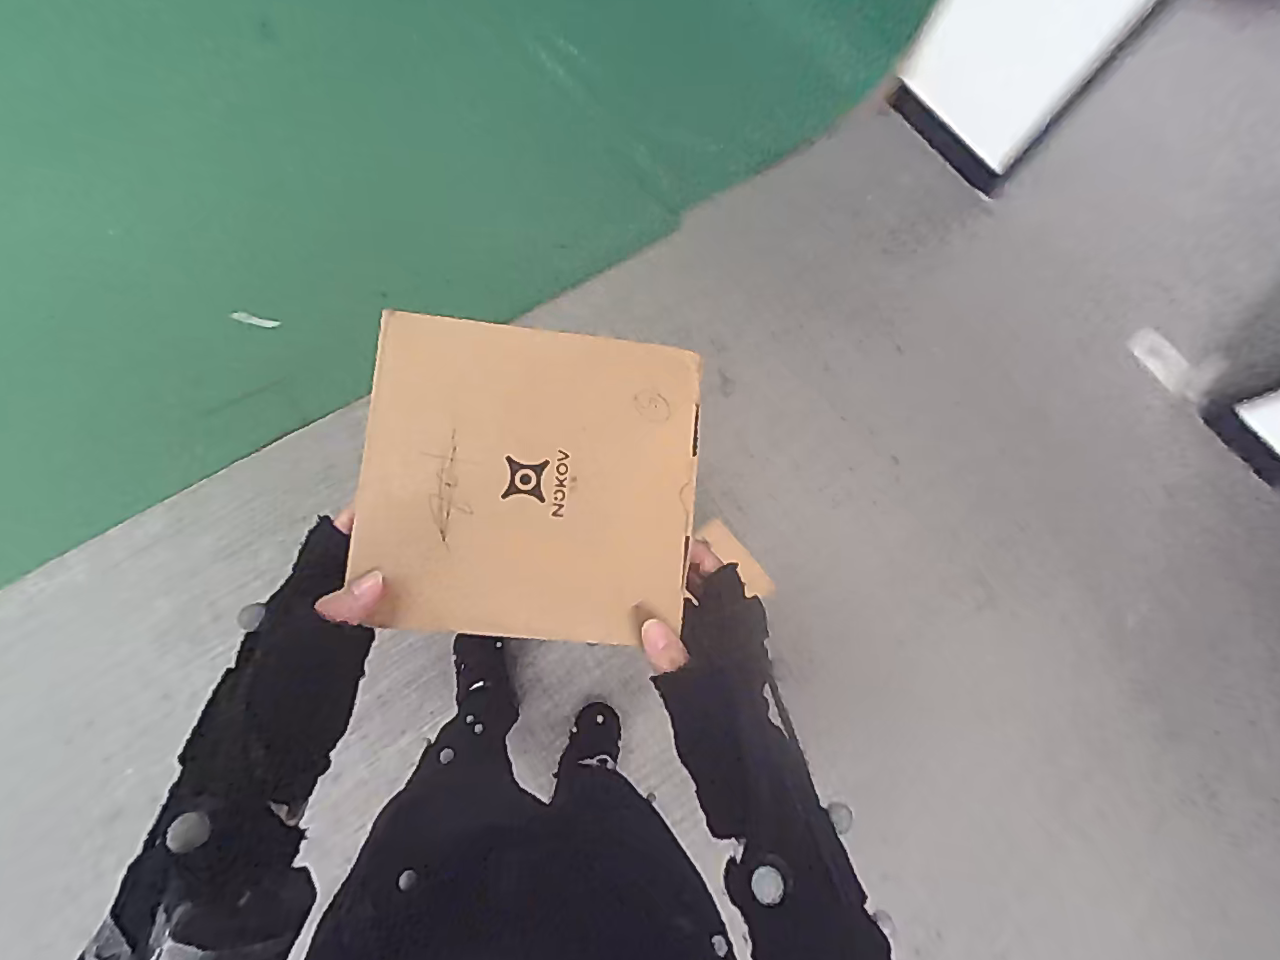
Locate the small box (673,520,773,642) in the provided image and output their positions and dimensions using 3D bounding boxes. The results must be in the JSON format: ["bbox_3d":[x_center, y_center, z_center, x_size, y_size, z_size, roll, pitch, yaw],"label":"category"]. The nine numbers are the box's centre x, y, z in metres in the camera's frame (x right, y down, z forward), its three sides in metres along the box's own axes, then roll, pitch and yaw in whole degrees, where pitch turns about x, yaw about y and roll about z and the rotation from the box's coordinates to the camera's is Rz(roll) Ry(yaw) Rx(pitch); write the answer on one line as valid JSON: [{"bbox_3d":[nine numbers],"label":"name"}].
[{"bbox_3d":[0.134,0.208,1.106,0.168,0.176,0.179,-37,81,-15],"label":"small box"}]

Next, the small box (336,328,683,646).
[{"bbox_3d":[-0.074,0.011,0.371,0.179,0.176,0.168,3,83,-5],"label":"small box"}]
